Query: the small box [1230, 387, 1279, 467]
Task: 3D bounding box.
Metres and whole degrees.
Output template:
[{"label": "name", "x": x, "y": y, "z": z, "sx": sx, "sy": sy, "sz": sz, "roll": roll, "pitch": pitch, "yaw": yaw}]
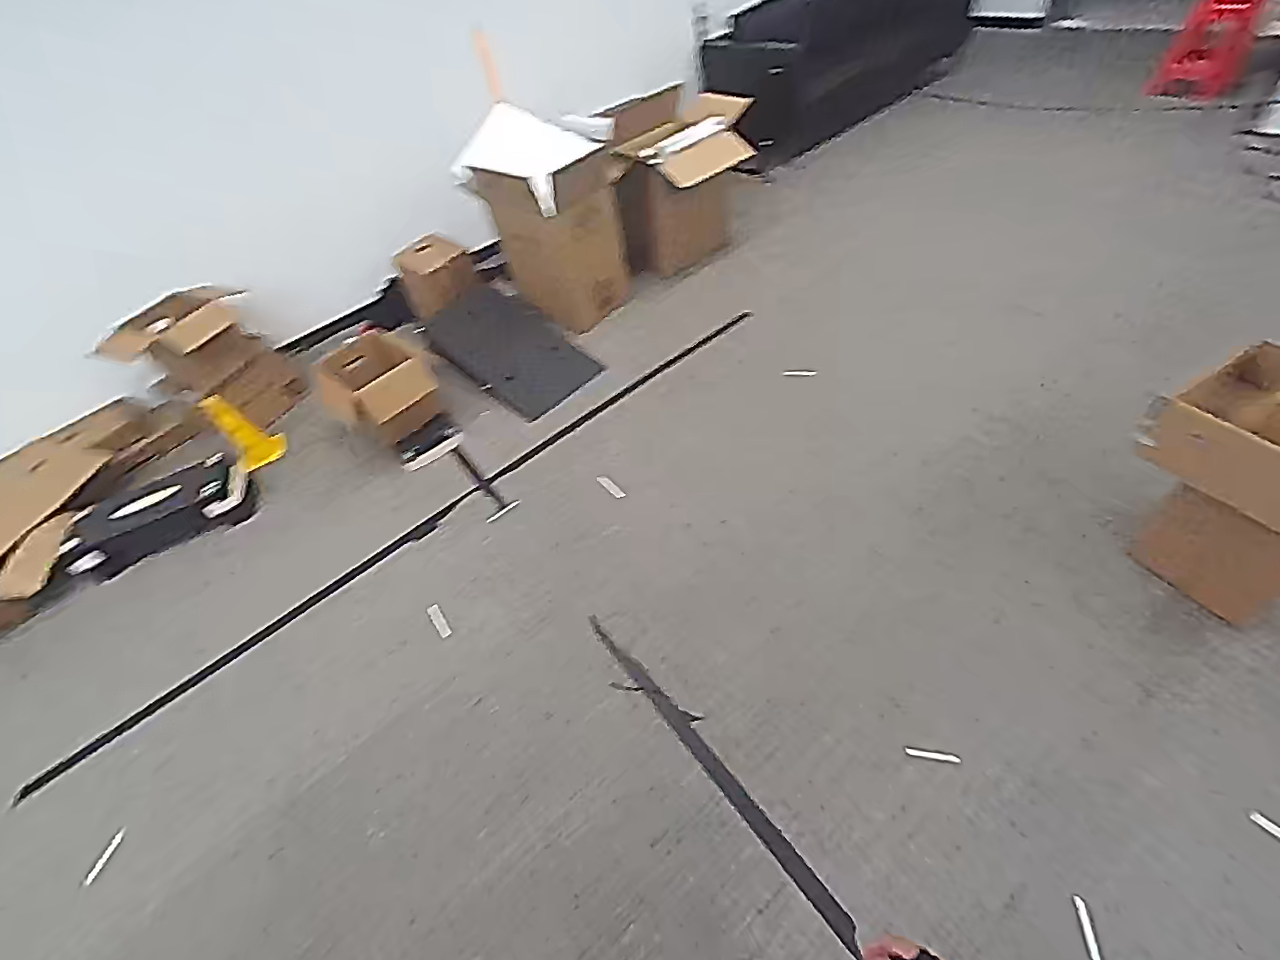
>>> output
[{"label": "small box", "x": 1.560, "y": -0.131, "z": 1.249, "sx": 0.168, "sy": 0.176, "sz": 0.179, "roll": -27, "pitch": 49, "yaw": -12}]
